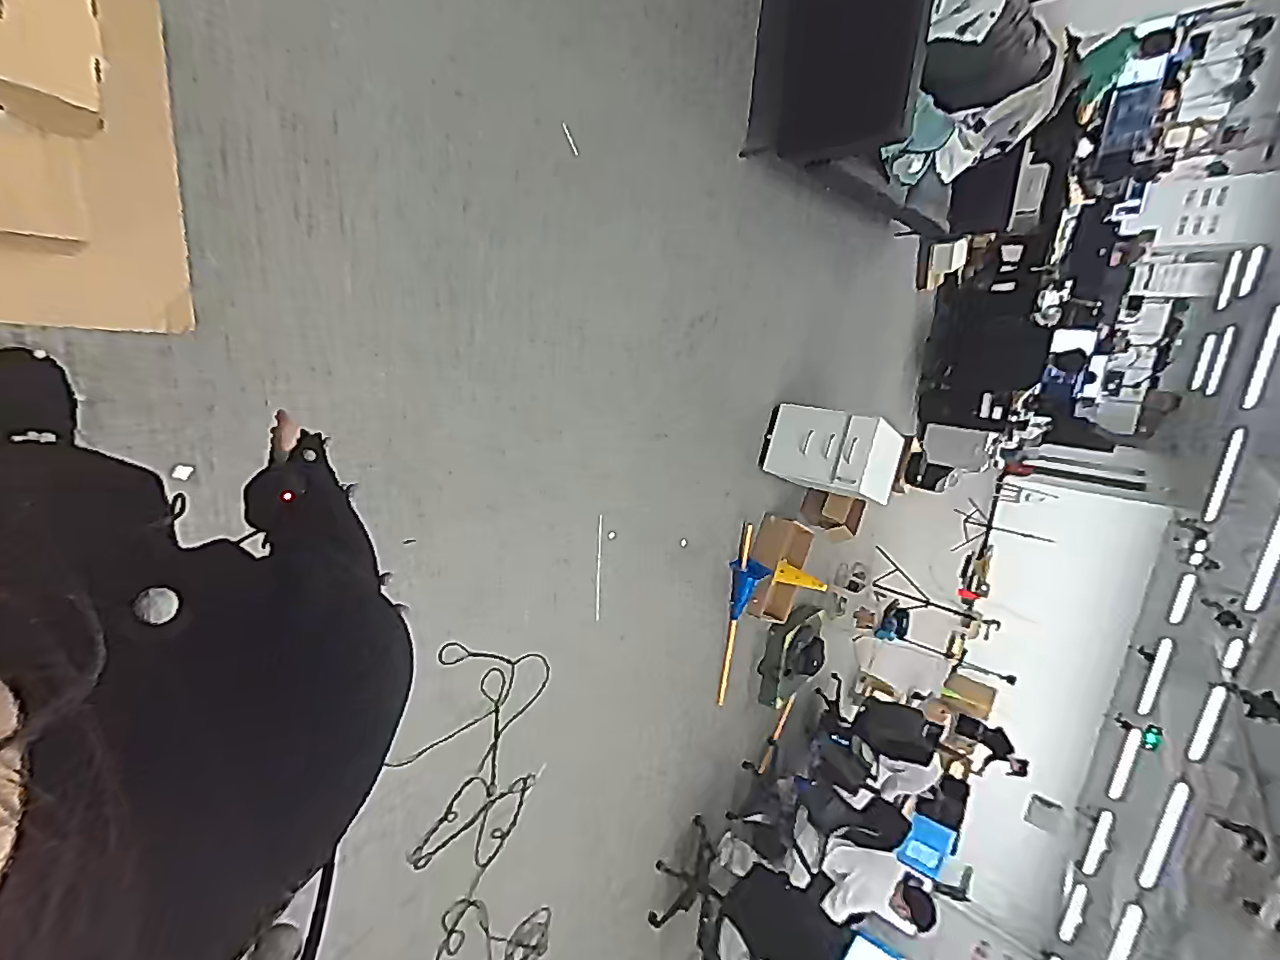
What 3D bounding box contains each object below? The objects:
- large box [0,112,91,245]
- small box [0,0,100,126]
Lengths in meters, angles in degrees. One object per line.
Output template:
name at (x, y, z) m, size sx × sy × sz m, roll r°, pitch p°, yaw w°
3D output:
large box at (-1.044, -0.505, 0.701) m, size 0.408 × 0.320 × 0.320 m, roll -15°, pitch 114°, yaw -48°
small box at (-0.766, -0.540, 0.628) m, size 0.179 × 0.176 × 0.168 m, roll -6°, pitch 106°, yaw -49°
